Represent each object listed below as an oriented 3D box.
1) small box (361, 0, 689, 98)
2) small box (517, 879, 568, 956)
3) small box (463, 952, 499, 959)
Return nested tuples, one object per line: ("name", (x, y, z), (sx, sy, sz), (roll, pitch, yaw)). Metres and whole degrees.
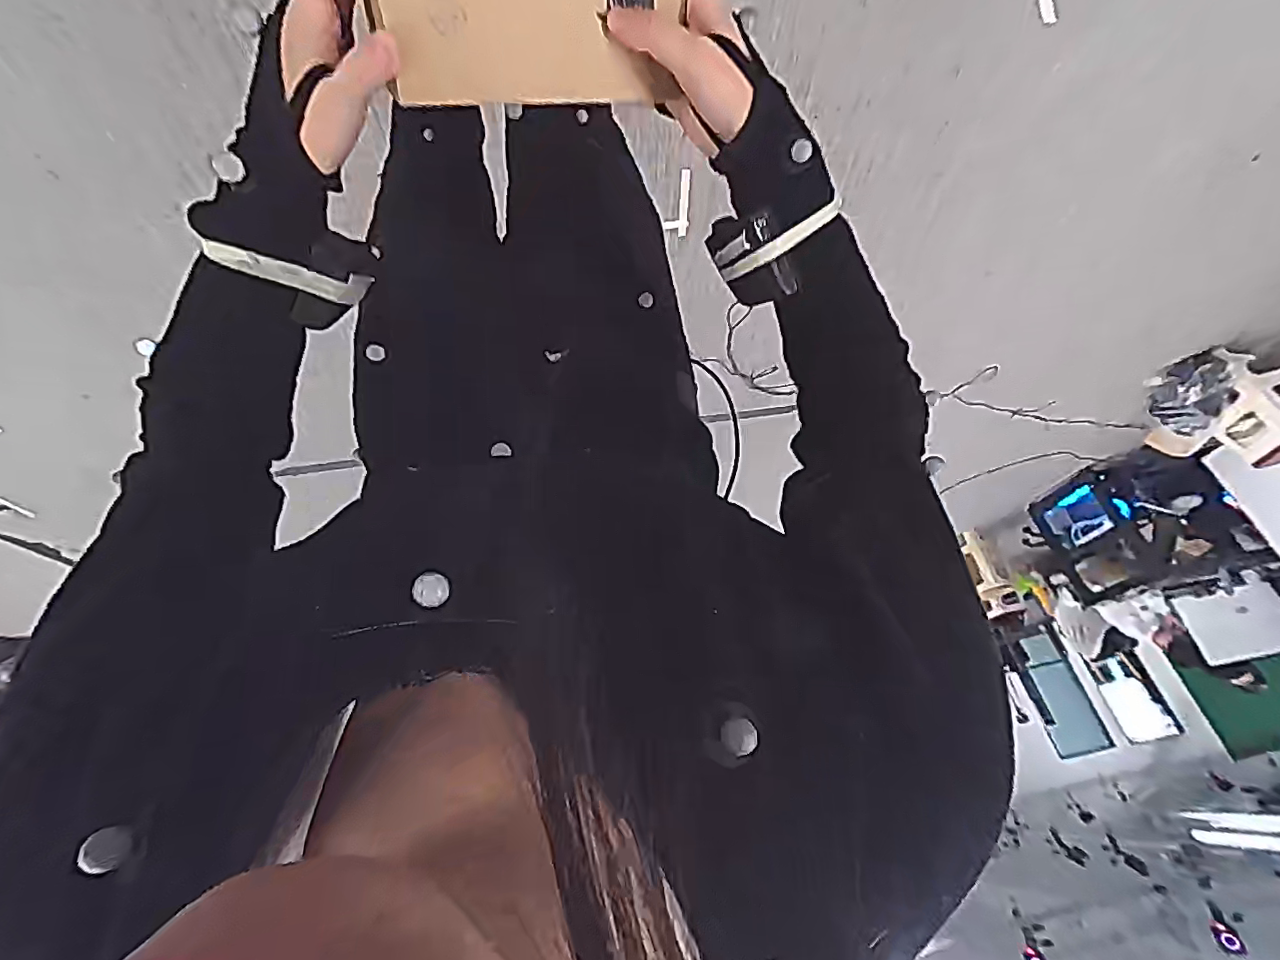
("small box", (-0.081, -0.340, 0.324), (0.179, 0.176, 0.168), (-14, 133, -19))
("small box", (-0.358, 1.603, 1.991), (0.168, 0.176, 0.179), (-7, 153, -9))
("small box", (-0.582, 1.771, 1.864), (0.179, 0.176, 0.168), (-9, 154, -8))
